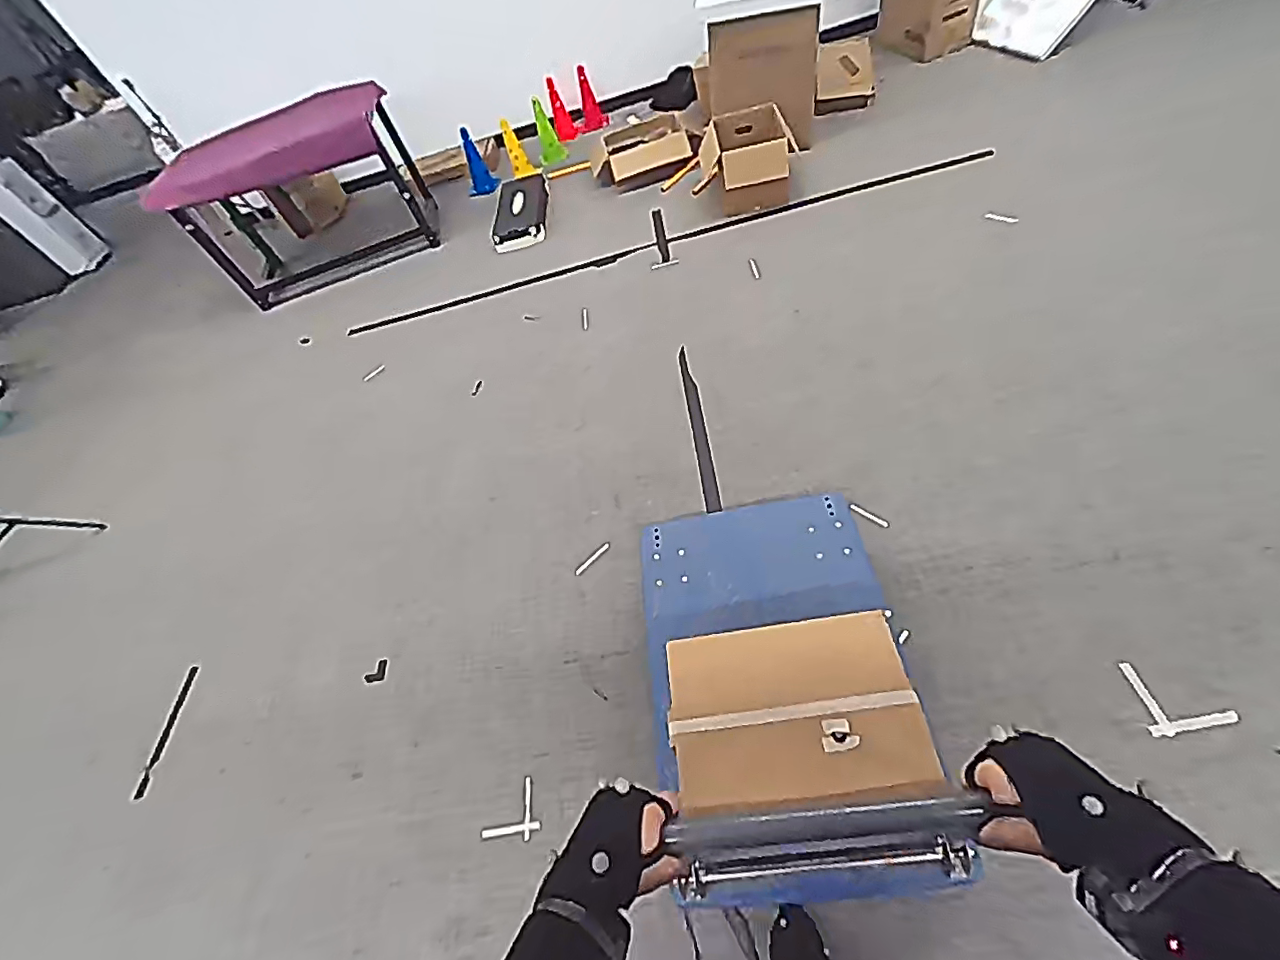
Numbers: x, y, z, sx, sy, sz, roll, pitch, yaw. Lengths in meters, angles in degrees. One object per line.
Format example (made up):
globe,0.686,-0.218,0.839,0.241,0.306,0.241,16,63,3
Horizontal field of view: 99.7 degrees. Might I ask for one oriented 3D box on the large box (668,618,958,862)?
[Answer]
large box,0.286,0.492,1.004,0.408,0.320,0.320,-11,51,7
